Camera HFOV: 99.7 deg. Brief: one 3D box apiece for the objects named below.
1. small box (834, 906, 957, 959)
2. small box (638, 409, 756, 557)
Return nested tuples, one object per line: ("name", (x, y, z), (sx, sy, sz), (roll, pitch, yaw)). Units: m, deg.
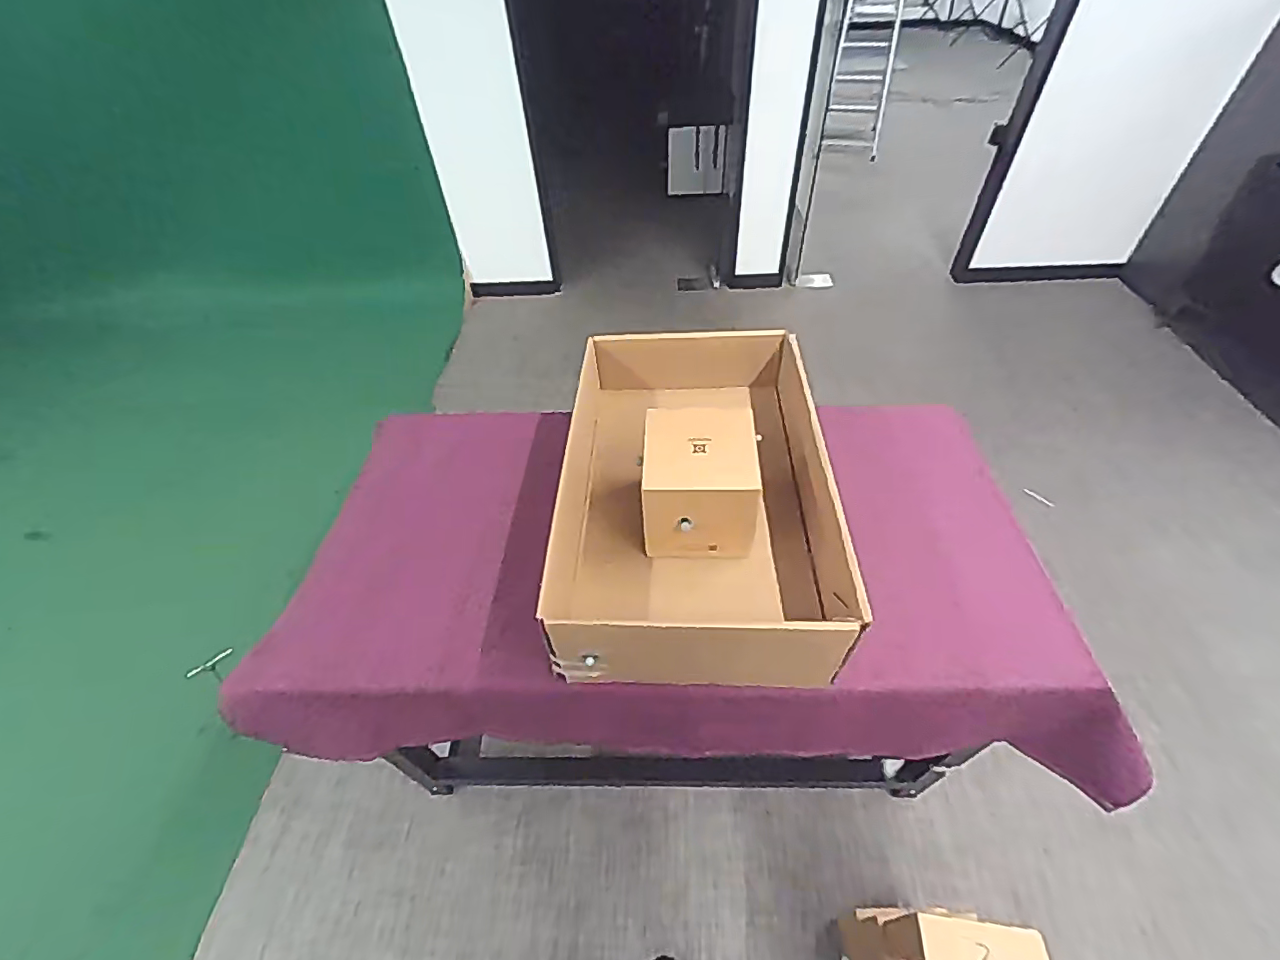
("small box", (0.495, 0.931, 1.043), (0.179, 0.176, 0.168), (-3, 48, 3))
("small box", (0.089, 0.008, 0.852), (0.168, 0.176, 0.179), (-1, 47, 4))
